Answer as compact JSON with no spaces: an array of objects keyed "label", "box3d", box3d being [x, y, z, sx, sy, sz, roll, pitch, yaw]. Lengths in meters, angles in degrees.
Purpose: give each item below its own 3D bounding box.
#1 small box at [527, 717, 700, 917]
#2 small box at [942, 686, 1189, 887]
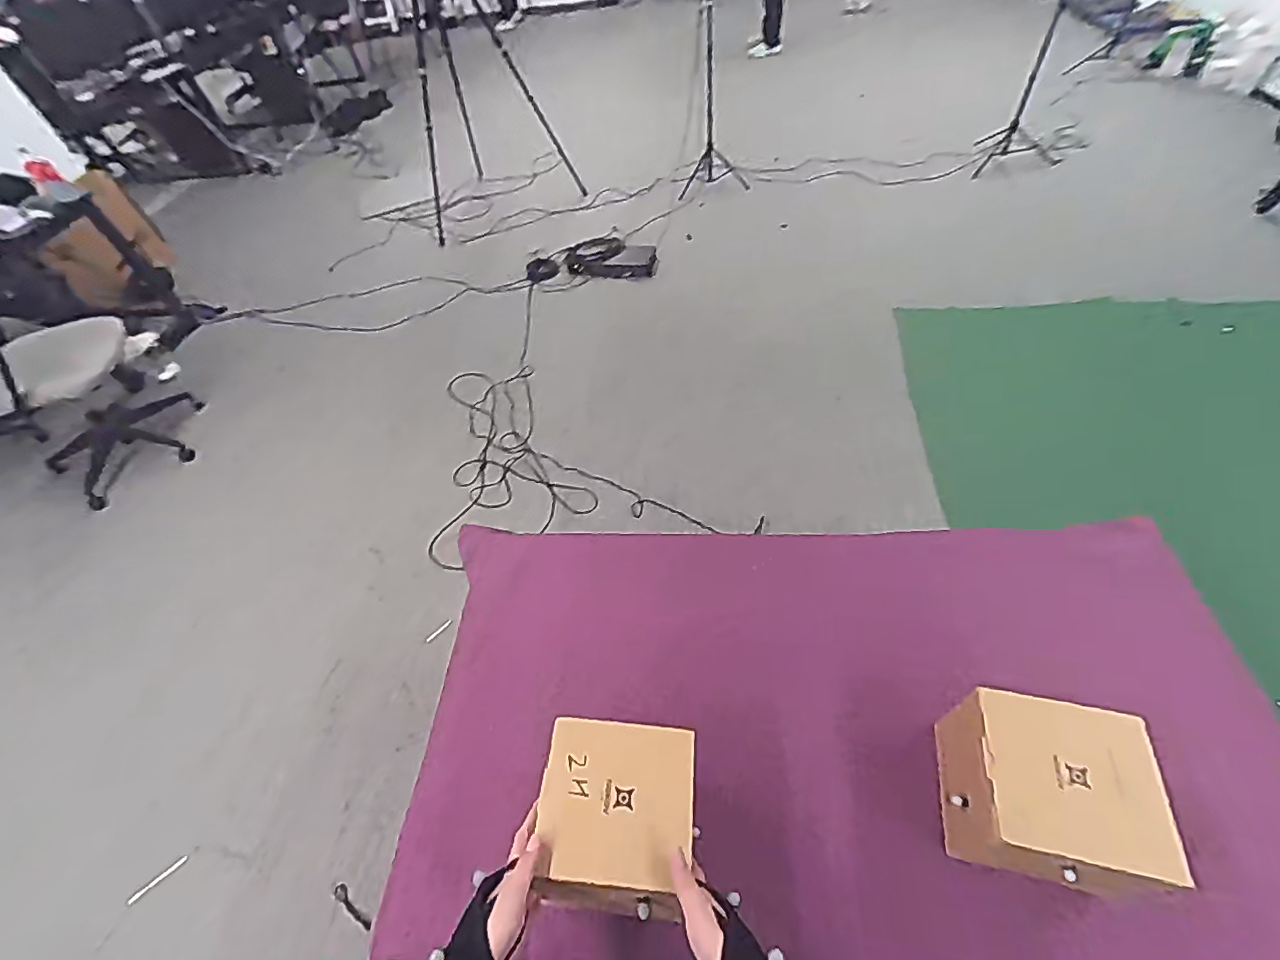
[{"label":"small box","box3d":[-0.024,0.414,0.663,0.179,0.176,0.168,5,44,4]},{"label":"small box","box3d":[0.486,0.376,0.659,0.179,0.176,0.168,8,53,13]}]
